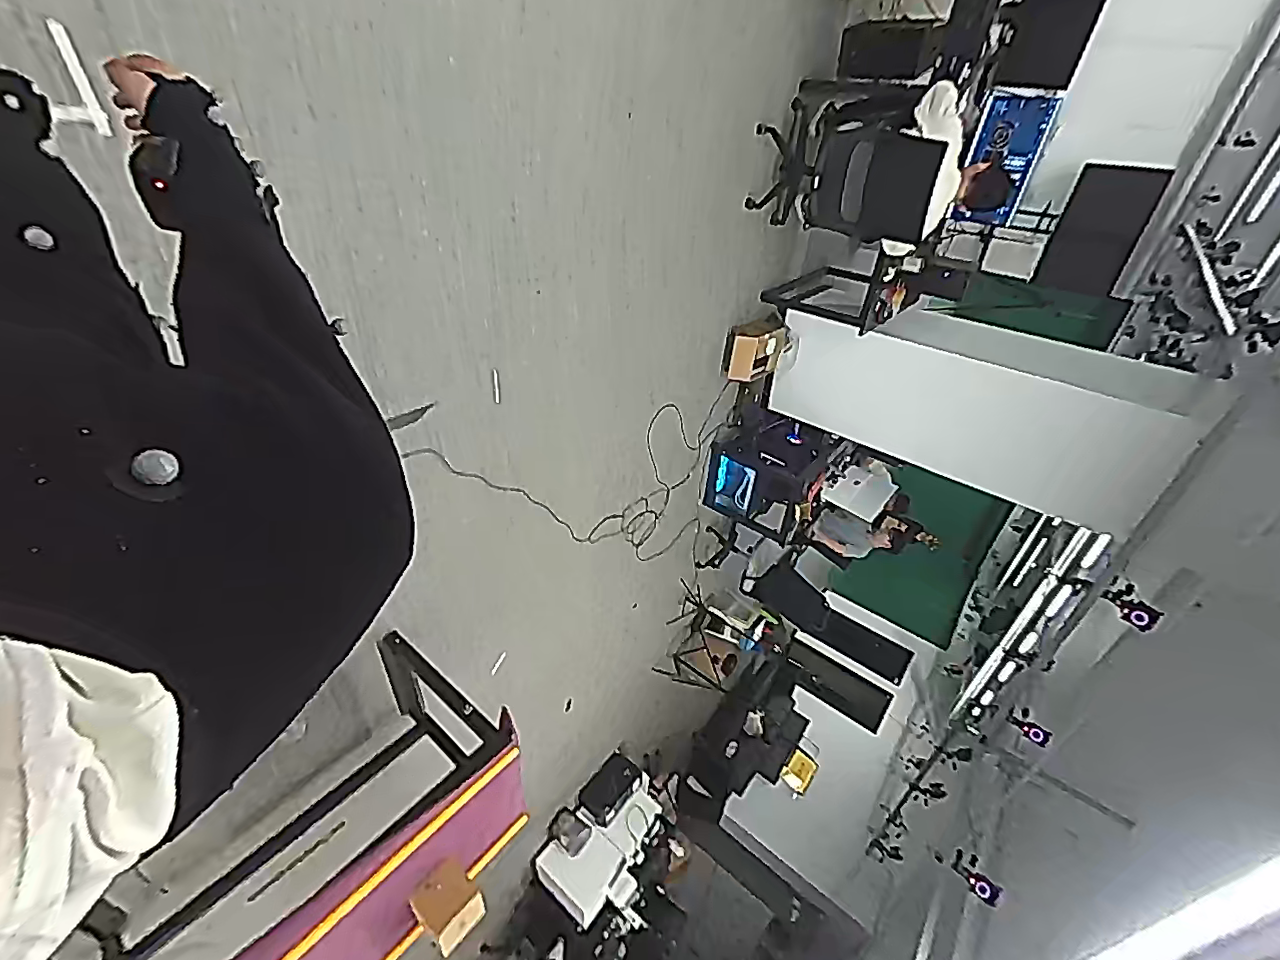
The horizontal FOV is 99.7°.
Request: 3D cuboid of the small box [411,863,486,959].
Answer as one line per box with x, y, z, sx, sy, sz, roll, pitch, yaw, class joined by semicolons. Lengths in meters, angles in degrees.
-0.644;1.450;1.826;0.168;0.176;0.179;-32;137;-42;small box
